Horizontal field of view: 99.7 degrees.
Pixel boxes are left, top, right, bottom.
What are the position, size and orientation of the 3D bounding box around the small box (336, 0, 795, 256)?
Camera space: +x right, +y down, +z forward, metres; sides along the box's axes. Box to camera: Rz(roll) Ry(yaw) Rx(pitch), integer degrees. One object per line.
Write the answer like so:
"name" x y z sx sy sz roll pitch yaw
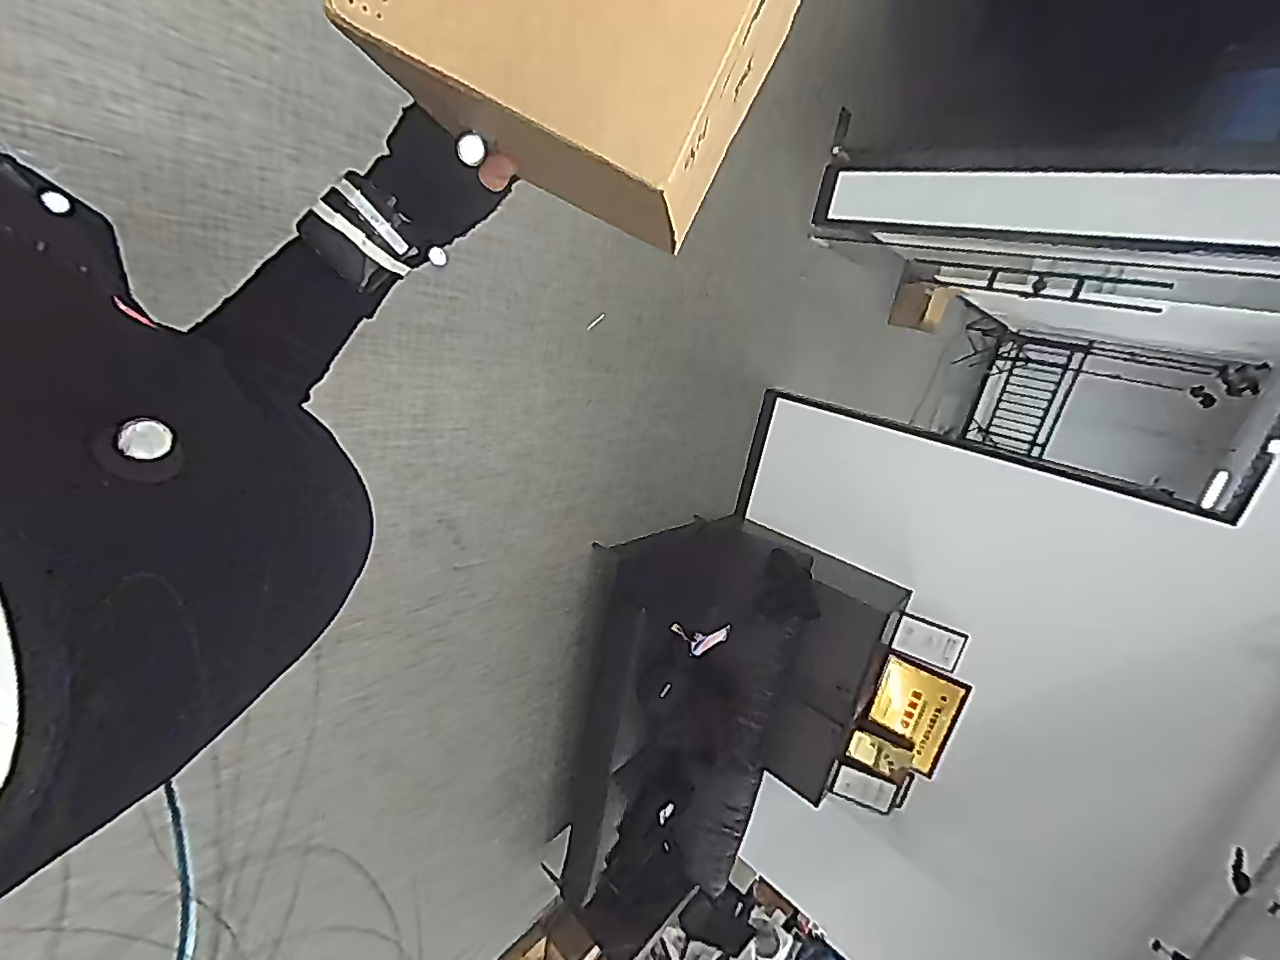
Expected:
"small box" -0.020 -0.249 0.292 0.168 0.176 0.179 -63 -177 14
